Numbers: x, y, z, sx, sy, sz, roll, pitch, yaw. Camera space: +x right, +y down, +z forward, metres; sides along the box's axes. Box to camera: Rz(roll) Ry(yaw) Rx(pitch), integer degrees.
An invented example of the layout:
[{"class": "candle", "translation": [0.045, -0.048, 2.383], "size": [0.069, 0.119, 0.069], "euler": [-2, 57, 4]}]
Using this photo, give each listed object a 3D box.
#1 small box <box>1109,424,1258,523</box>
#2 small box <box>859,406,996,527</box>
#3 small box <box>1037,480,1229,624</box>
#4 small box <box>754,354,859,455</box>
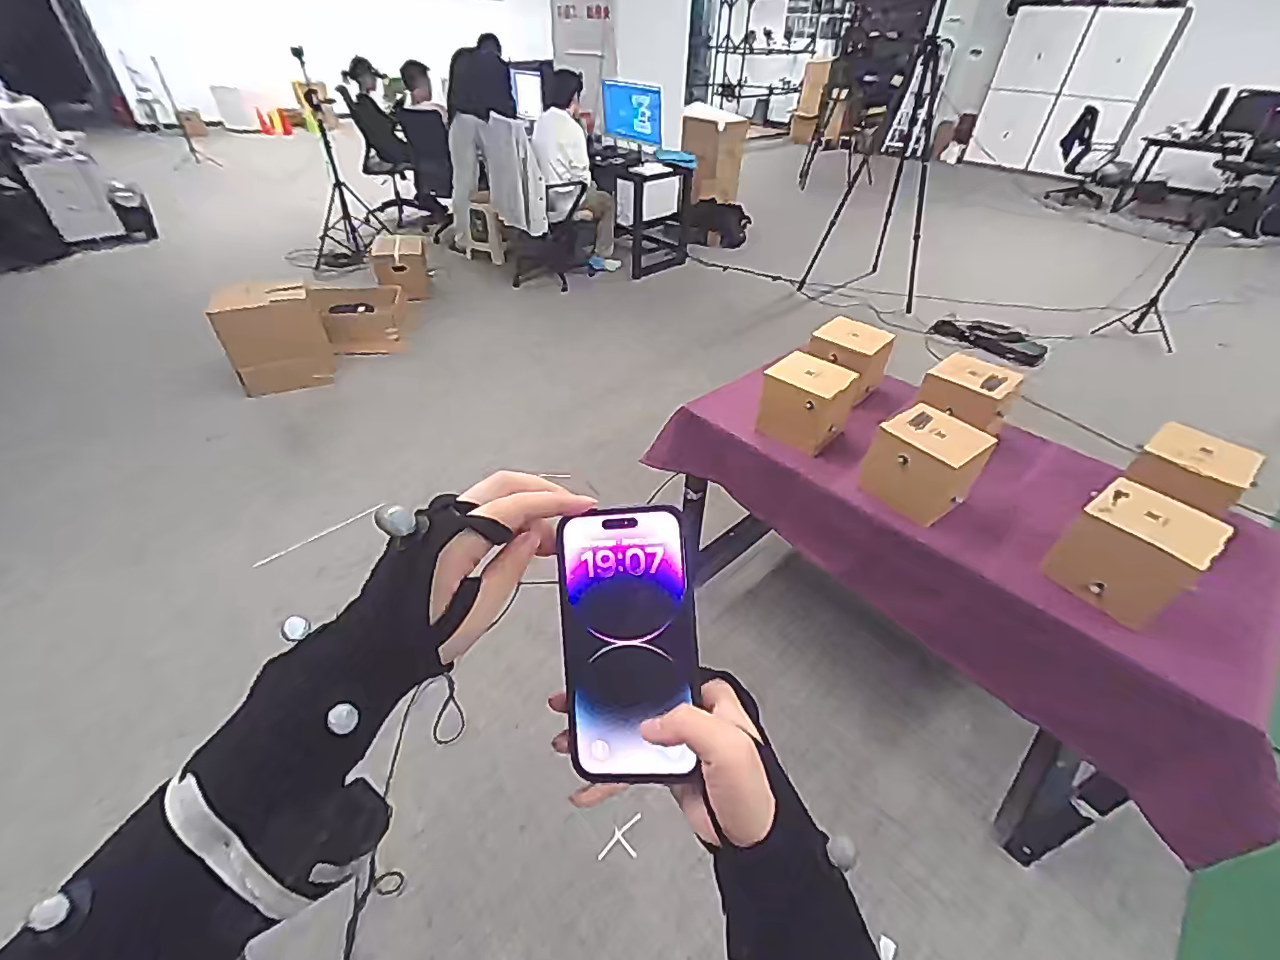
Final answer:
[{"class": "small box", "translation": [1.127, 0.013, 1.145], "size": [0.179, 0.176, 0.168], "euler": [-27, 48, -30]}, {"class": "small box", "translation": [0.610, -0.031, 1.171], "size": [0.168, 0.176, 0.179], "euler": [-24, 48, -29]}, {"class": "small box", "translation": [0.886, 0.136, 0.986], "size": [0.168, 0.176, 0.179], "euler": [-23, 47, -28]}, {"class": "small box", "translation": [0.408, -0.189, 1.350], "size": [0.179, 0.176, 0.168], "euler": [32, 47, 28]}]
